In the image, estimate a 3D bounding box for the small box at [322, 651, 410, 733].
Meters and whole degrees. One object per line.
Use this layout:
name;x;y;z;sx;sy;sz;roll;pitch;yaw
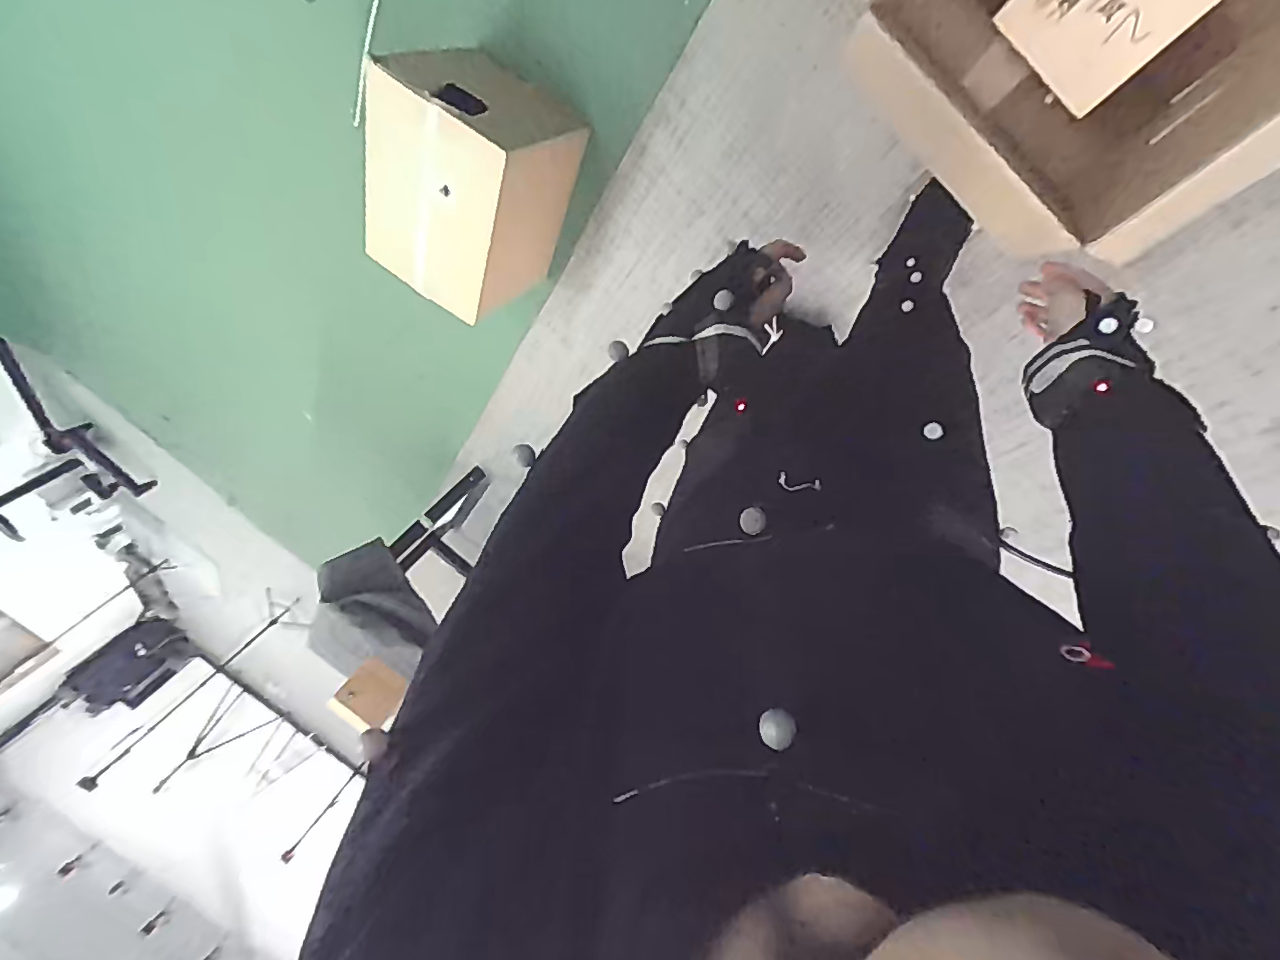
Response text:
small box;-0.864;0.670;1.712;0.179;0.176;0.168;44;137;-8
